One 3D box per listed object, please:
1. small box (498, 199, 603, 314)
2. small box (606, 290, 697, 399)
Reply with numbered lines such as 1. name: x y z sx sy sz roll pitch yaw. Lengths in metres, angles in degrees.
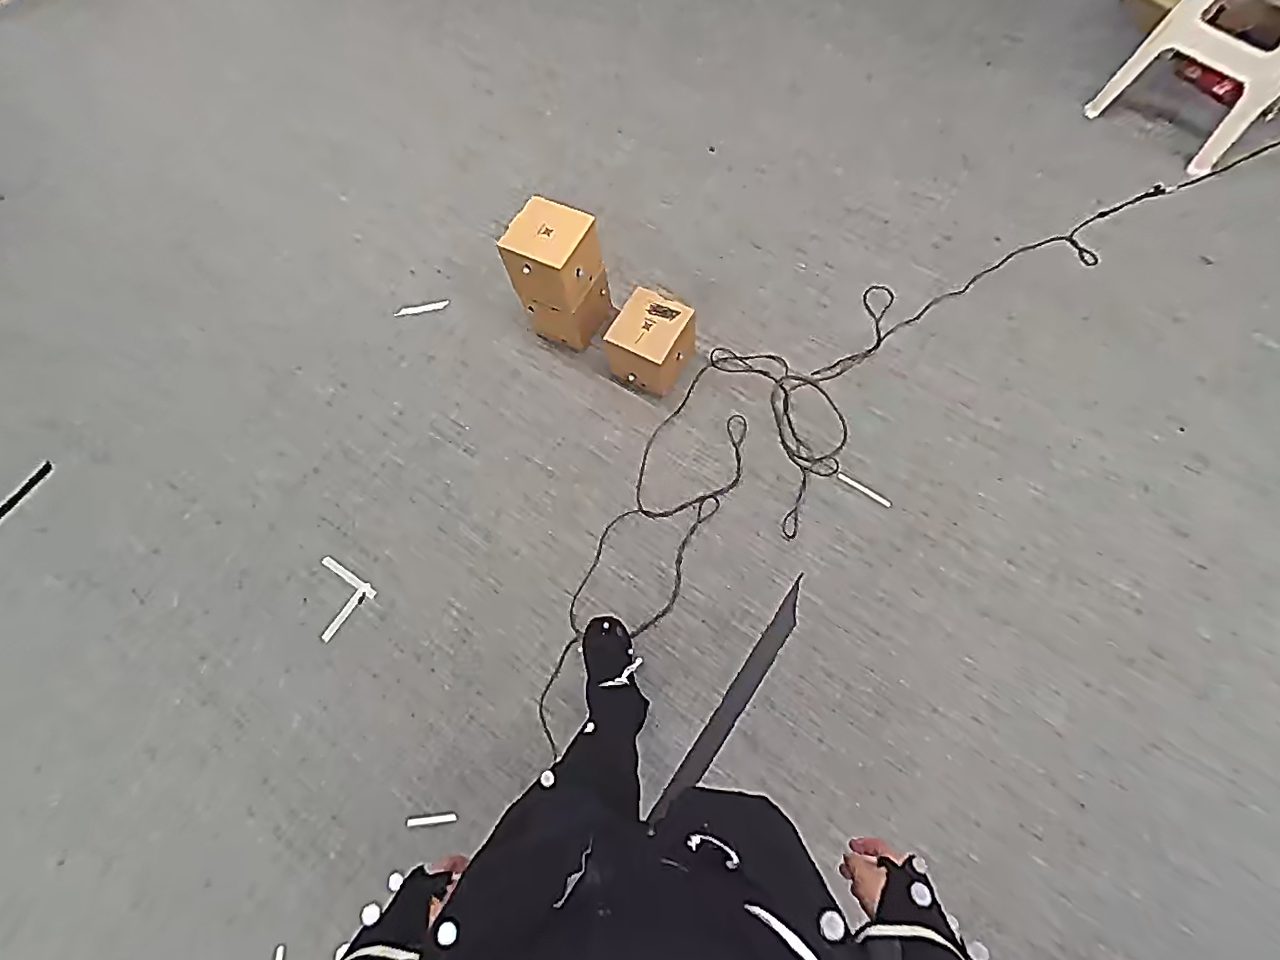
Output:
1. small box: -0.206 -0.531 1.308 0.179 0.176 0.168 25 73 13
2. small box: 0.032 -0.344 1.393 0.168 0.176 0.179 28 75 14
